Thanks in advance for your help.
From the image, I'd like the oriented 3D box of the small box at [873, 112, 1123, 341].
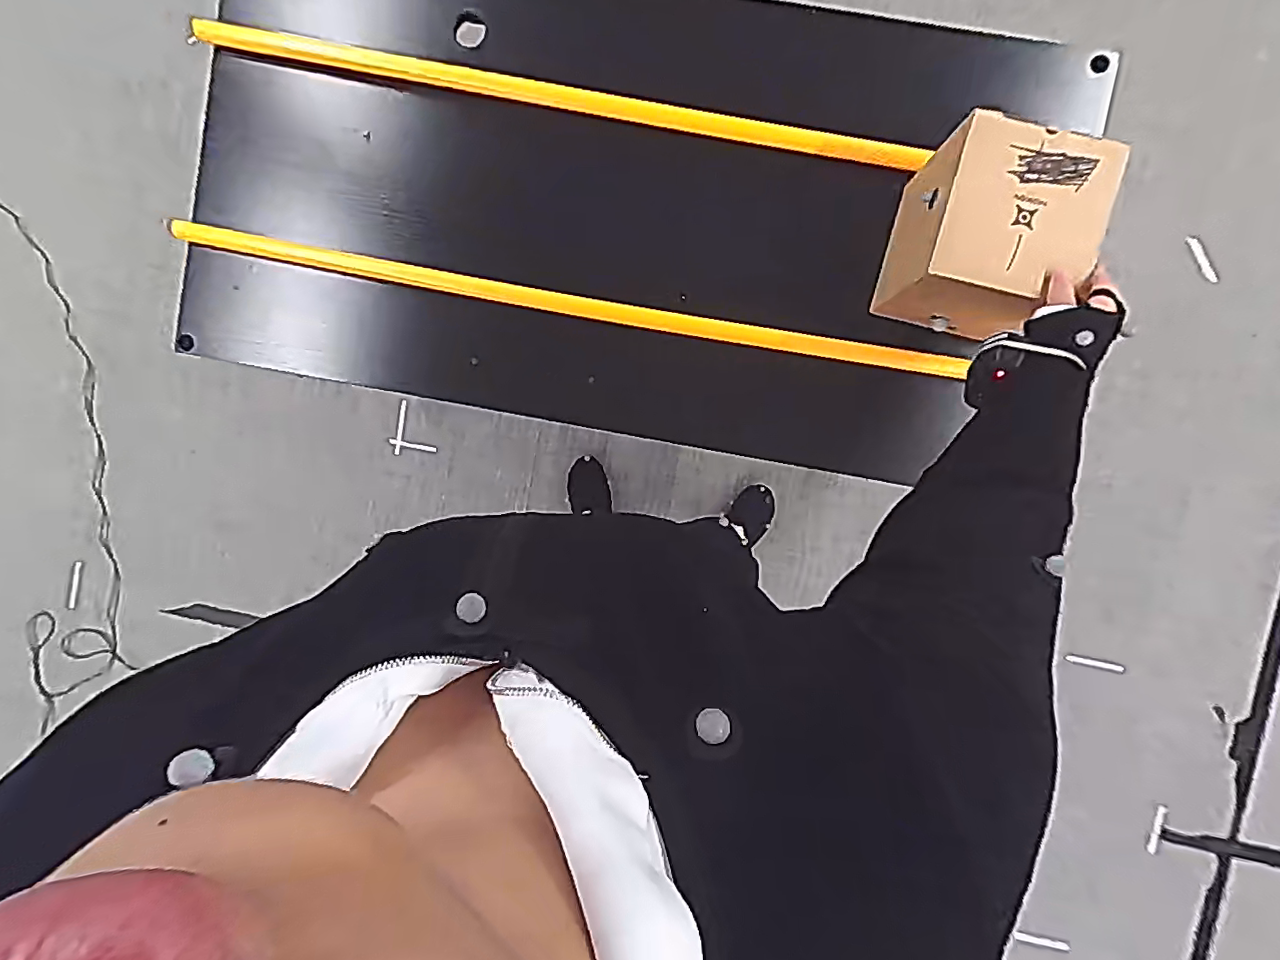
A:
[{"bbox_3d":[0.406,-0.286,0.648,0.168,0.176,0.179,16,94,2],"label":"small box"}]
